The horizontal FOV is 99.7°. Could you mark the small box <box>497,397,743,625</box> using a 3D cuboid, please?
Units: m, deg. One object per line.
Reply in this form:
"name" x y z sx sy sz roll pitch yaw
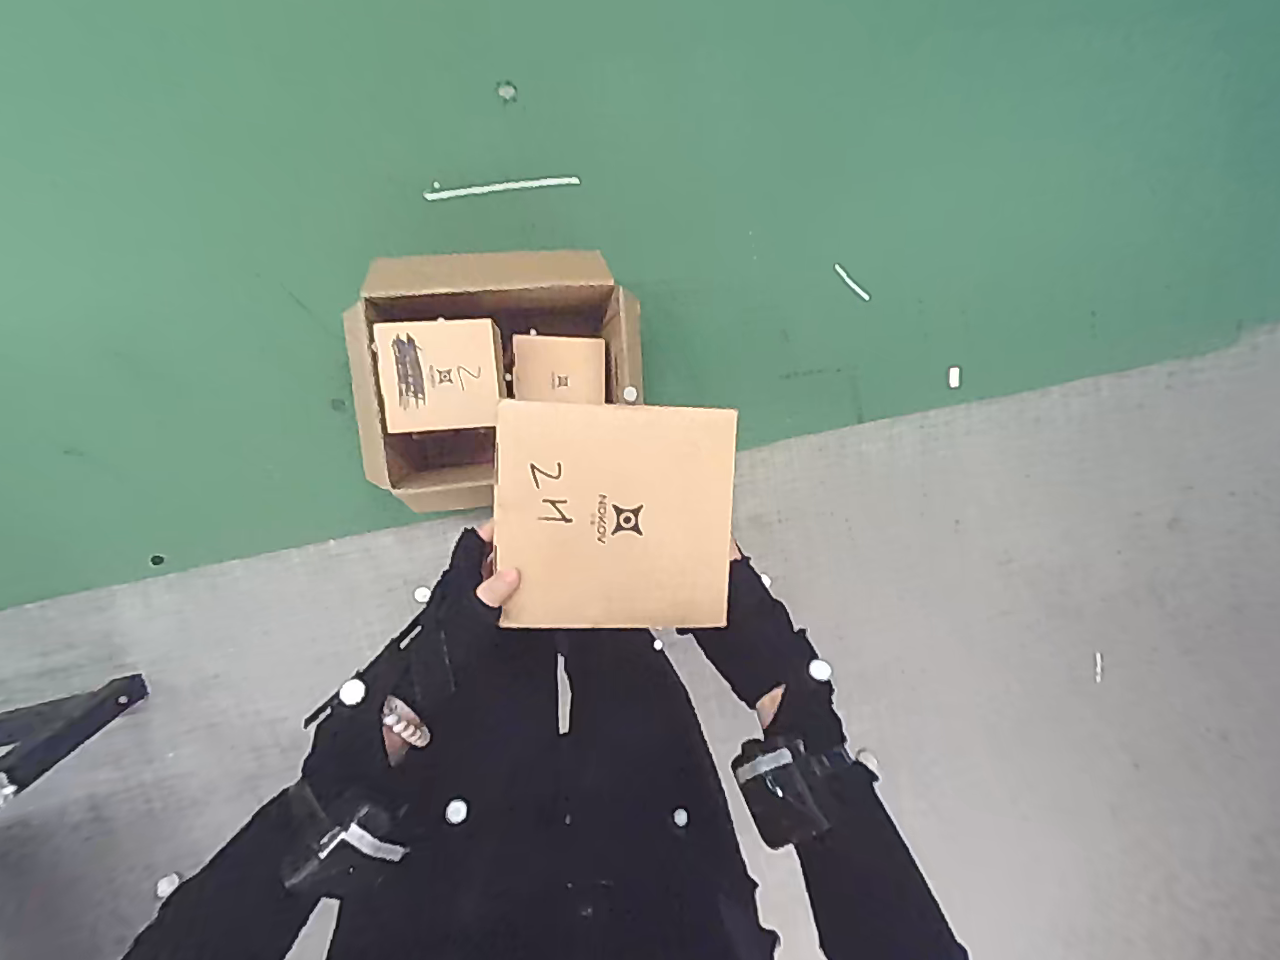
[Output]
"small box" -0.023 0.019 0.475 0.179 0.176 0.168 2 94 -6
